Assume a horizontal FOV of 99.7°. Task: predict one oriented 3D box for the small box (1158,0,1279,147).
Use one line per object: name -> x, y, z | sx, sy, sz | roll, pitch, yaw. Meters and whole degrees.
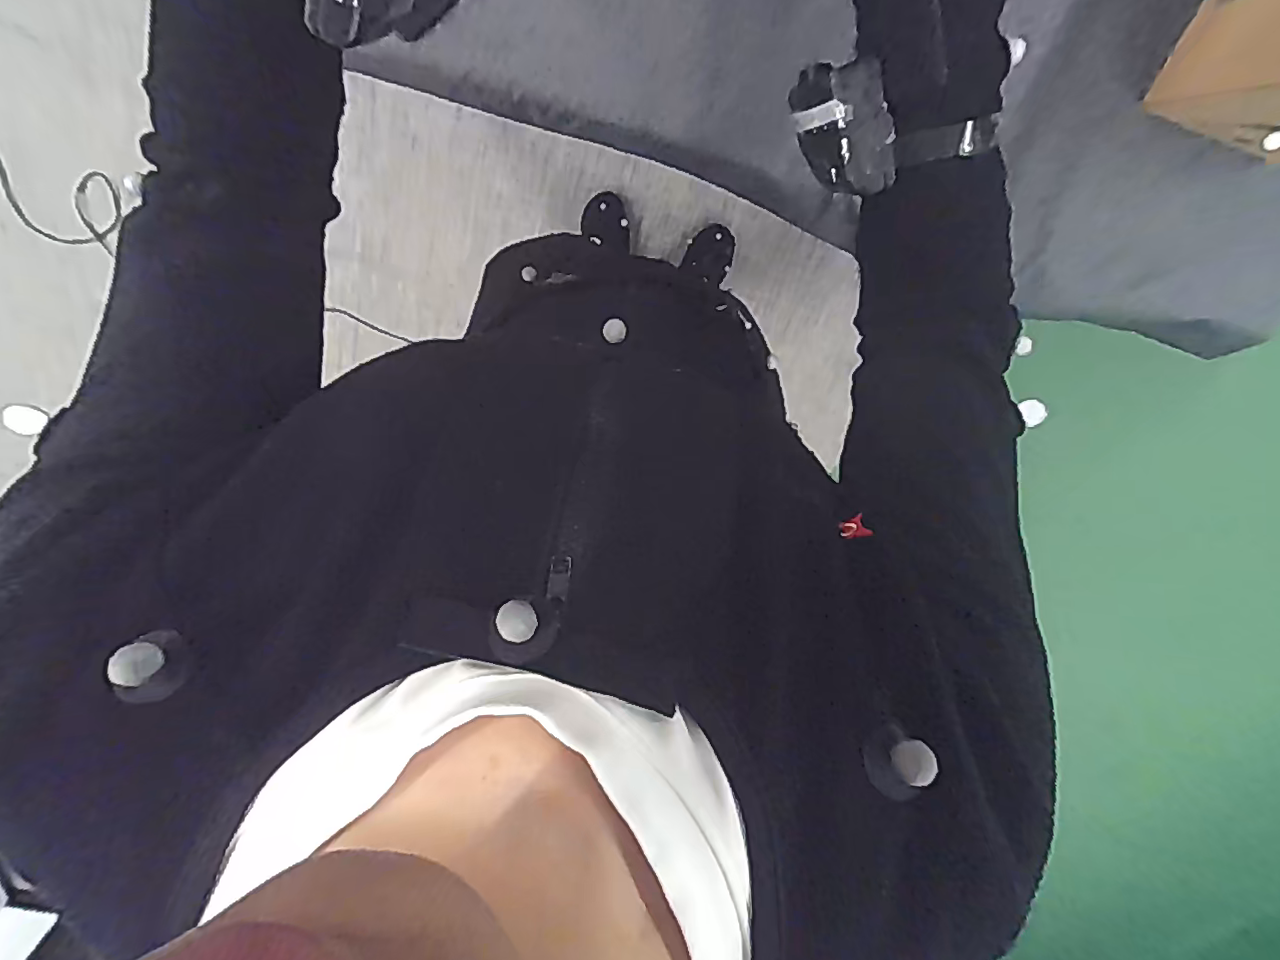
small box -> 0.587, -0.386, 0.432 | 0.168, 0.176, 0.179 | 15, 119, -7
